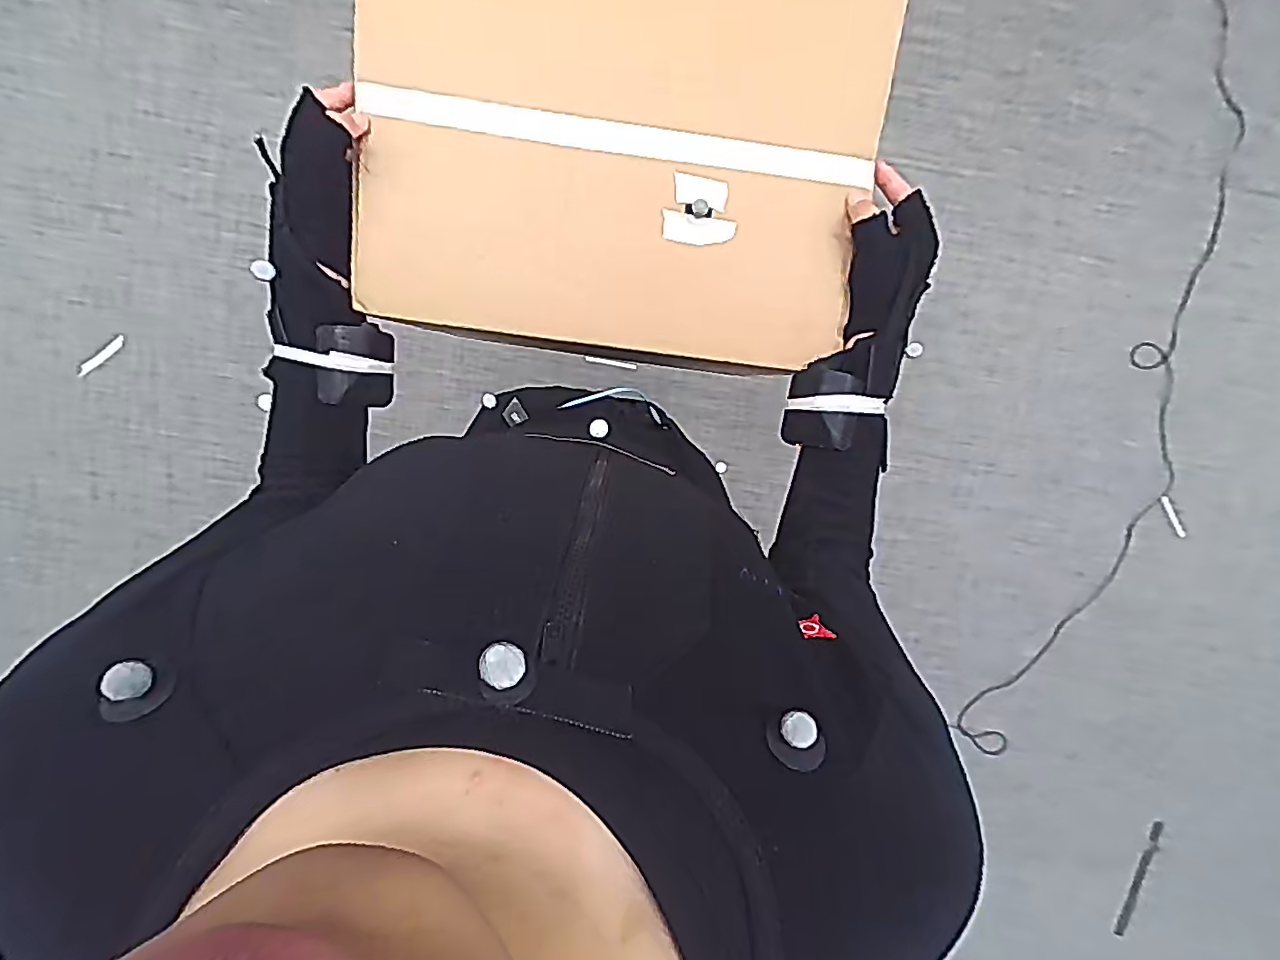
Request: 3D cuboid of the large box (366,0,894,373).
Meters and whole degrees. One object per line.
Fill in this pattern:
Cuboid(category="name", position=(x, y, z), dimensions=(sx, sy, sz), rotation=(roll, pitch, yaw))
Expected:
Cuboid(category="large box", position=(-0.023, -0.292, 0.579), dimensions=(0.408, 0.320, 0.320), rotation=(7, 102, -5))
